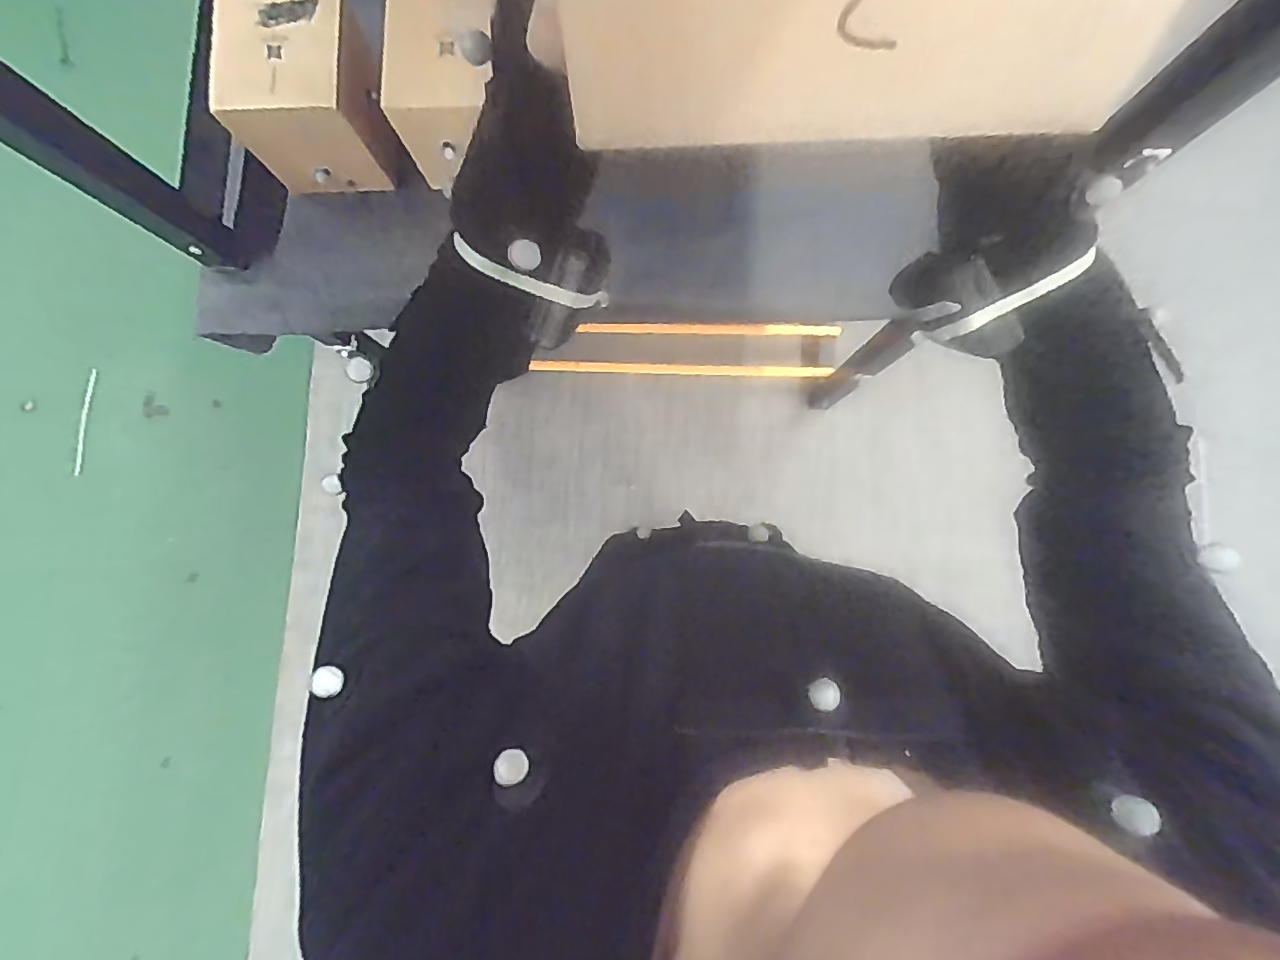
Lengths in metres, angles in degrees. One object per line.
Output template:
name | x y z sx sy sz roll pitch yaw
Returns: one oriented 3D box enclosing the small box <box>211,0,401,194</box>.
small box | -0.459 -0.540 0.769 0.168 0.176 0.179 -1 84 1
